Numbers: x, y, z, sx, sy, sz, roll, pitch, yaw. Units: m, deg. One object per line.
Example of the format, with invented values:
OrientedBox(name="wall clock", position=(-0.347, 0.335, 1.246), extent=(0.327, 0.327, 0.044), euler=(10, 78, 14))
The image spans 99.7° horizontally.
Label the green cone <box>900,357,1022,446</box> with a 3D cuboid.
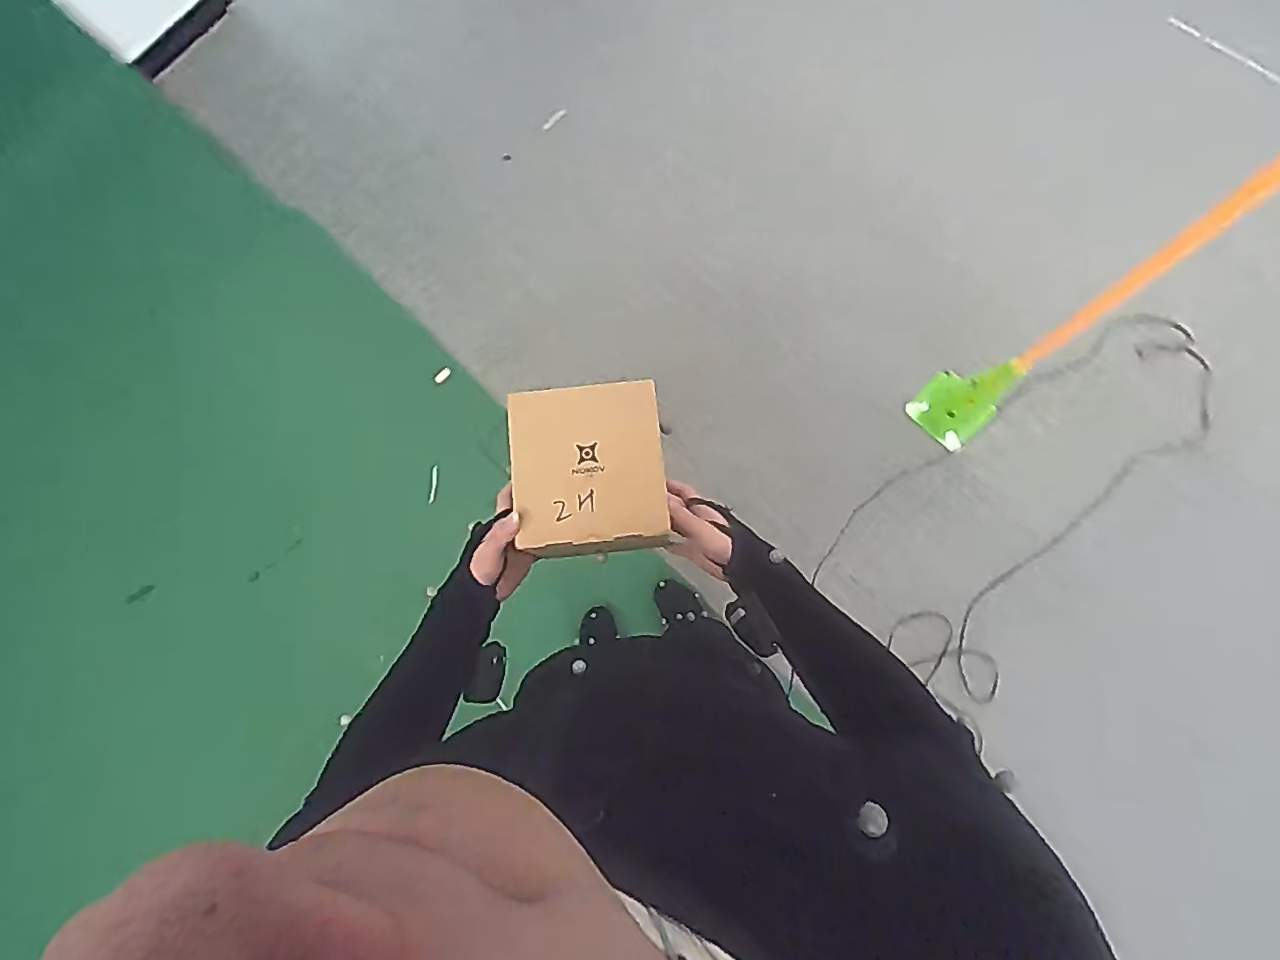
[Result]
OrientedBox(name="green cone", position=(0.923, -0.255, 1.499), extent=(0.202, 0.368, 0.200), euler=(44, 87, 9))
